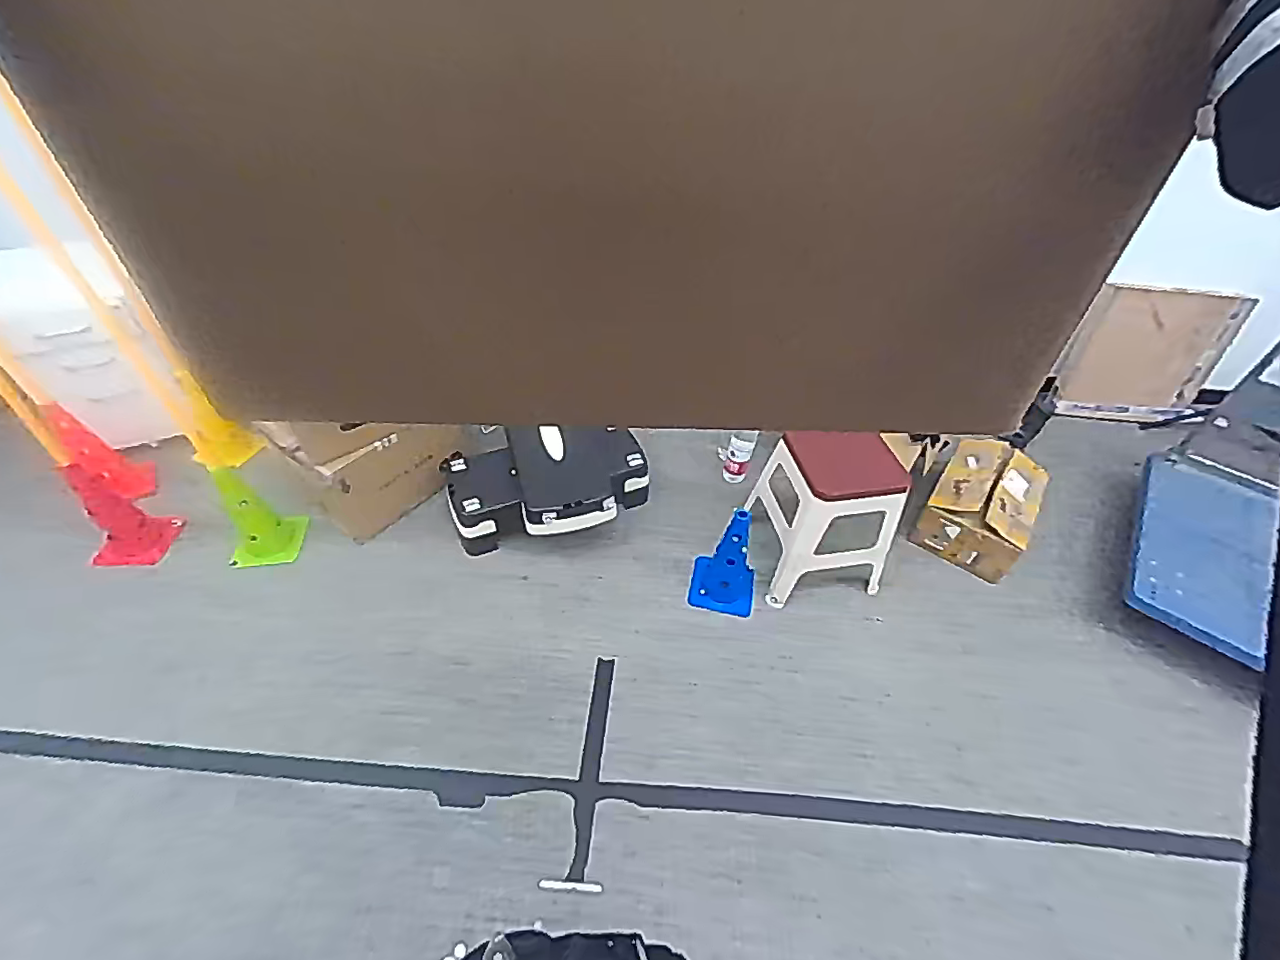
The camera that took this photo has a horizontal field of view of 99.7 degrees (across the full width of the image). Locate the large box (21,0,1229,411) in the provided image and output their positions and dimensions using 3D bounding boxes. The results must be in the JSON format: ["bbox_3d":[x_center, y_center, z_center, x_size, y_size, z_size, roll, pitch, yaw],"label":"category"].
[{"bbox_3d":[-0.006,-0.248,0.290,0.408,0.320,0.320,2,43,-1],"label":"large box"}]
